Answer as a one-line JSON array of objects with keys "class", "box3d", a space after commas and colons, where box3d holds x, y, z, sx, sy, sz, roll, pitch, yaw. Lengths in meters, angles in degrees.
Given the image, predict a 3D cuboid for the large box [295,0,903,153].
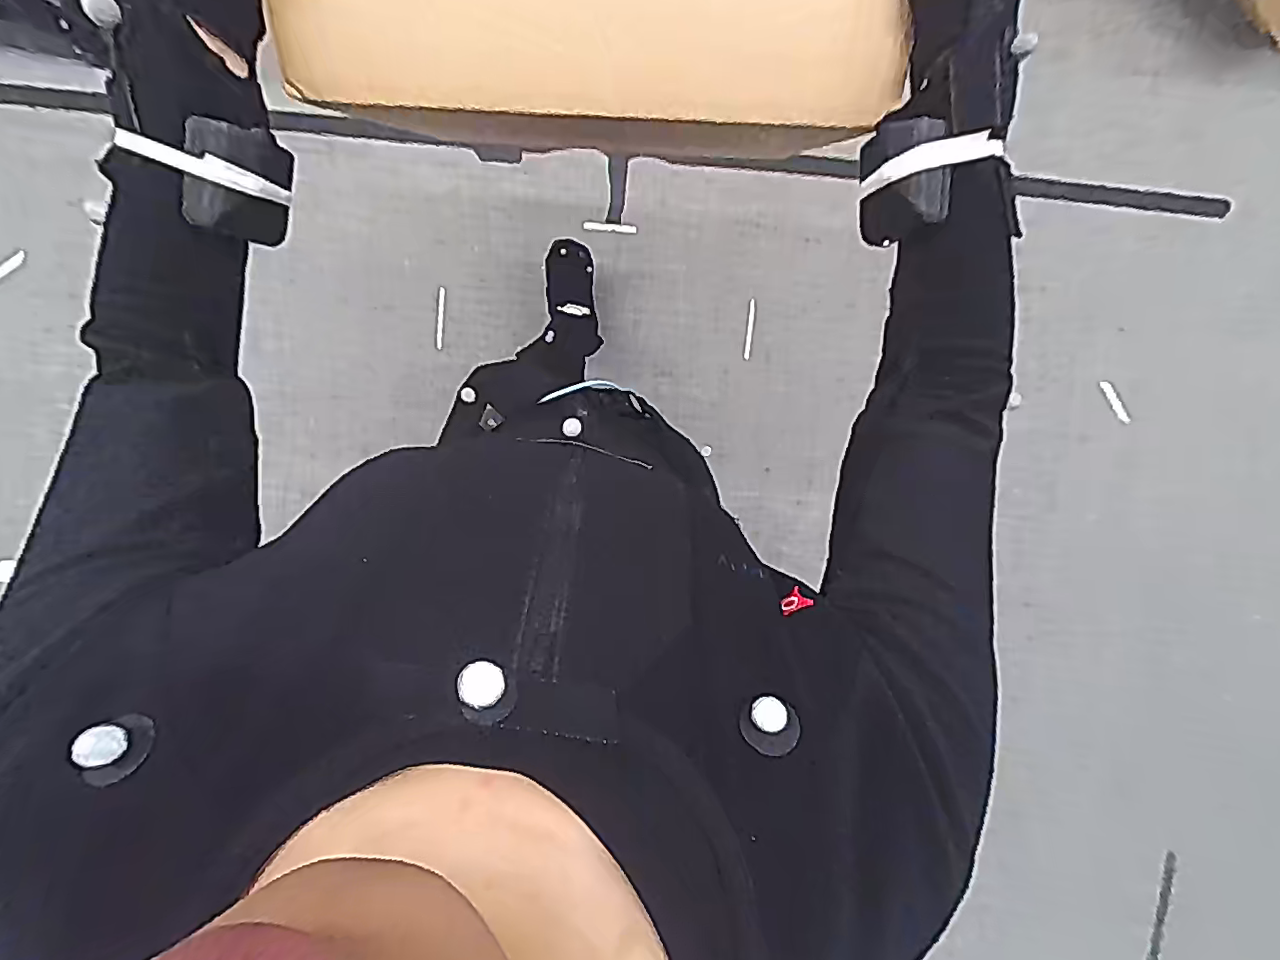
[{"class": "large box", "box3d": [-0.025, -0.461, 0.441, 0.408, 0.320, 0.320, 2, 119, -2]}]
